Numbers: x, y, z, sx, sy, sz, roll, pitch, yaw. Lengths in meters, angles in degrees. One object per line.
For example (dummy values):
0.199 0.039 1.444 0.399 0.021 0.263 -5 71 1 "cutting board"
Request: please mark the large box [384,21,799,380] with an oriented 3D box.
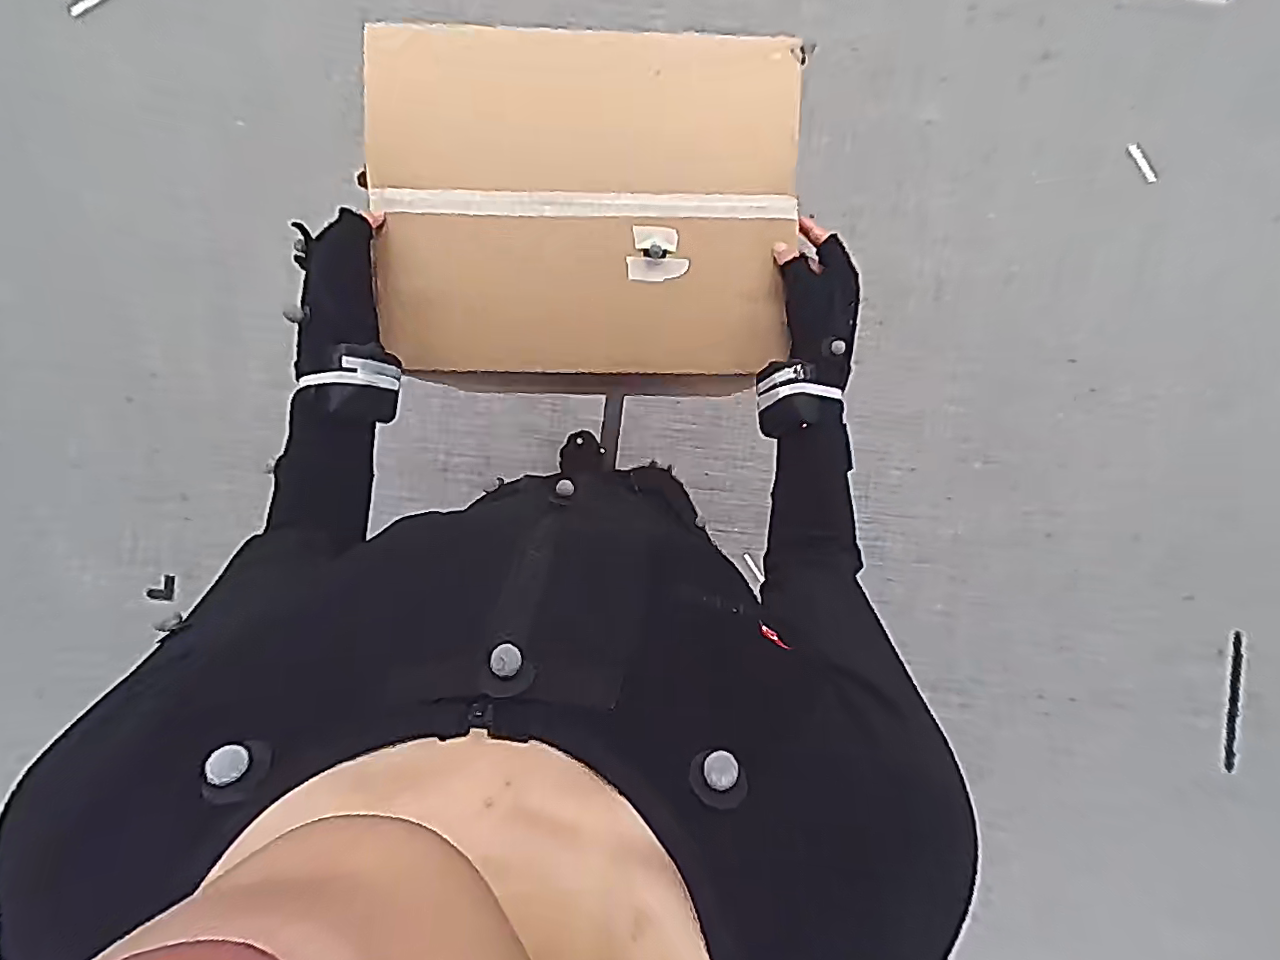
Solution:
-0.052 -0.295 0.679 0.408 0.320 0.320 0 97 -3 "large box"
